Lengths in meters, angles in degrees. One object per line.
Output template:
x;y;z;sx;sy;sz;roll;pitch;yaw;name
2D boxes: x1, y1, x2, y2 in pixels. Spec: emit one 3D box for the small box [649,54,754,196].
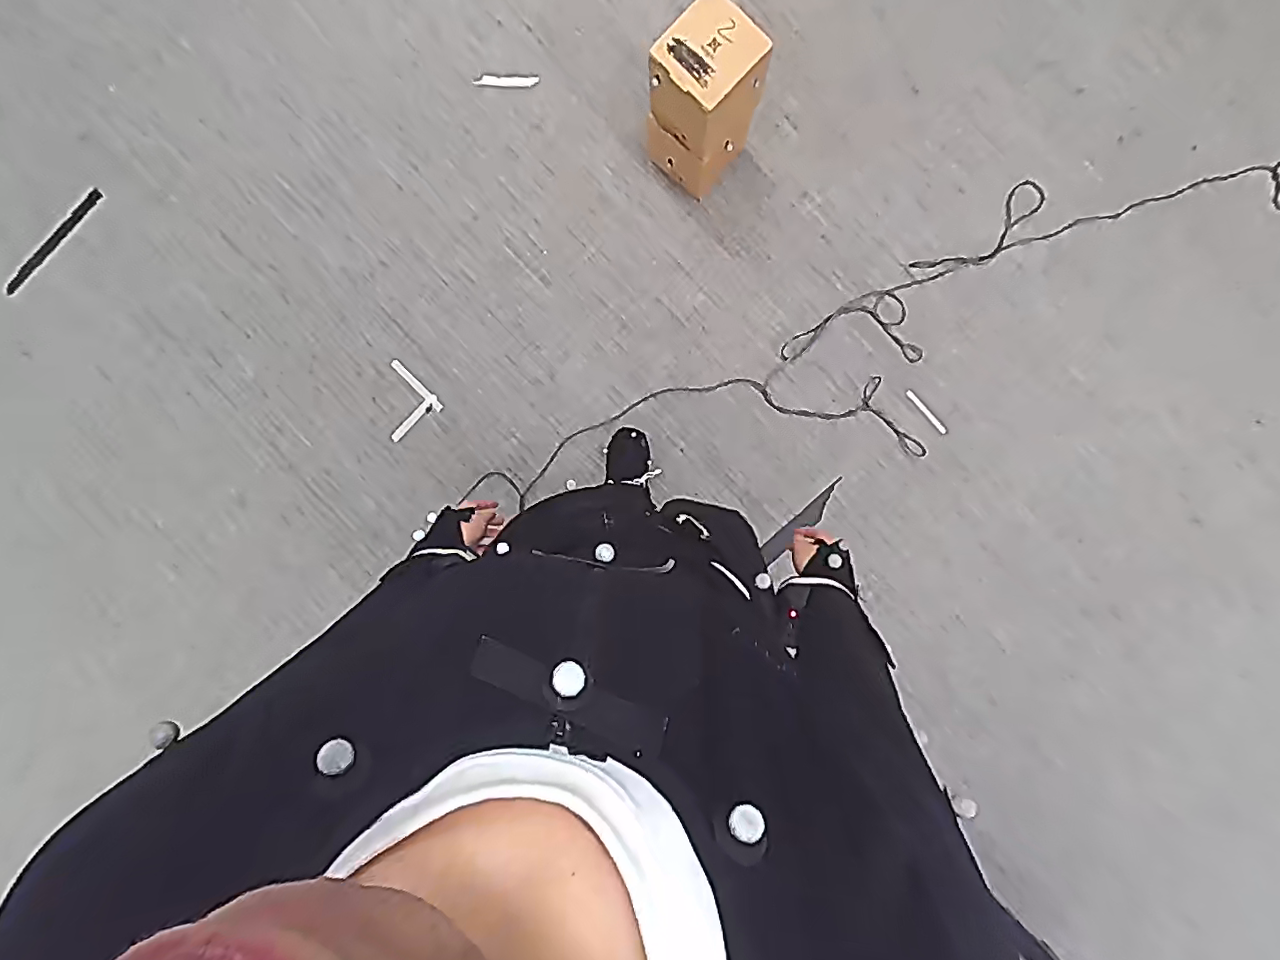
0.134;-0.809;1.250;0.168;0.176;0.179;40;93;0;small box
